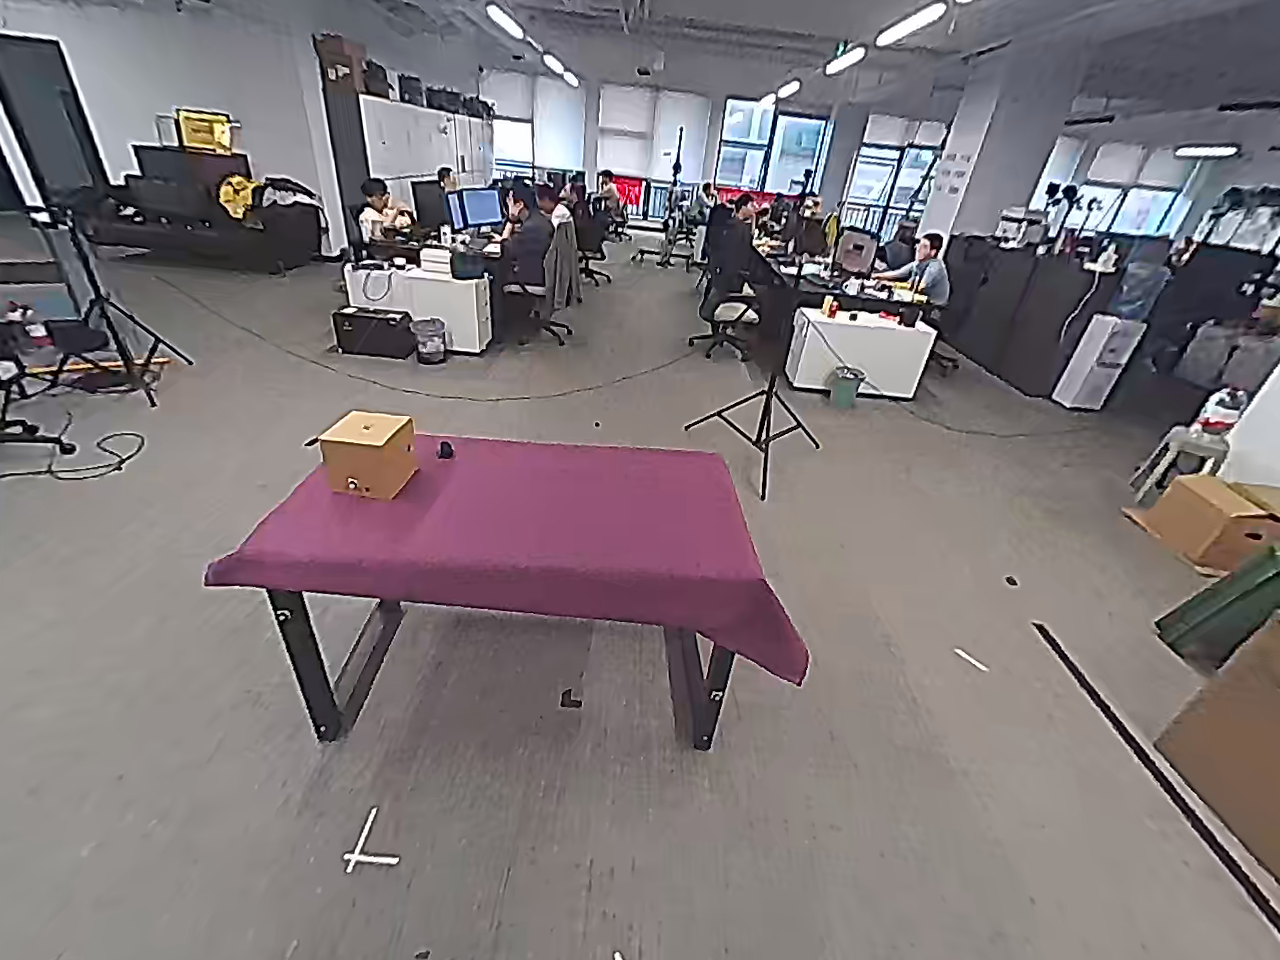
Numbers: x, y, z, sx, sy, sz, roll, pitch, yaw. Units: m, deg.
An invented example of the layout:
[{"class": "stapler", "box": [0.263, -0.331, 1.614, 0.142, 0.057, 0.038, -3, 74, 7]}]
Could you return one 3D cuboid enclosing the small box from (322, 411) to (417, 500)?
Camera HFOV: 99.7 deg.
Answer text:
[{"class": "small box", "box": [-0.718, -0.067, 1.461, 0.168, 0.176, 0.179, 6, 32, 1]}]
